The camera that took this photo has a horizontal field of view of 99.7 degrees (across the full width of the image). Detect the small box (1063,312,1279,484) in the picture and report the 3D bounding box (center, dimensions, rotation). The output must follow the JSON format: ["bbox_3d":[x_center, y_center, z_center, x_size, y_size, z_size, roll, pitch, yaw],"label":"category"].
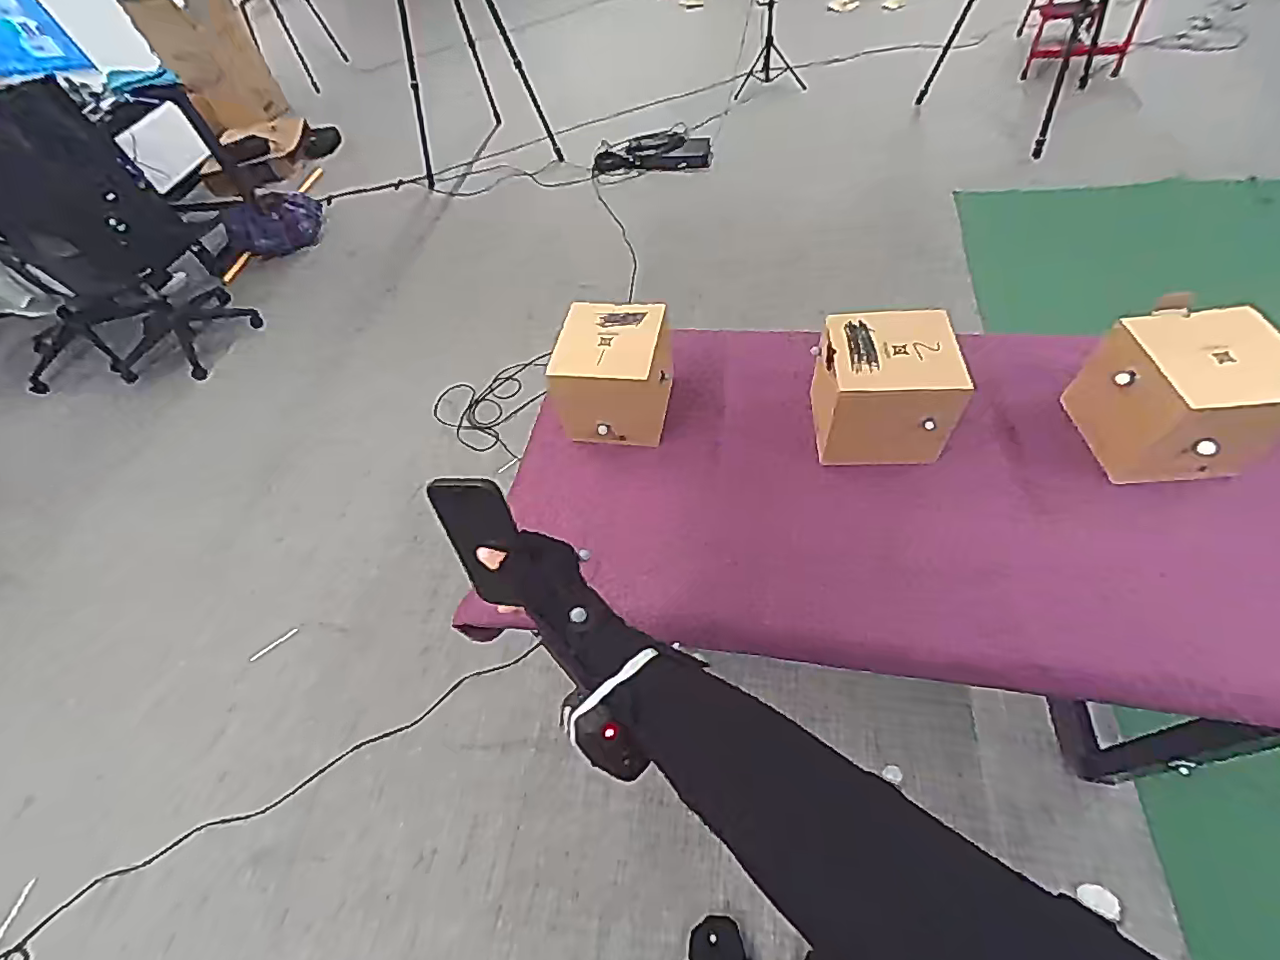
[{"bbox_3d":[0.752,-0.105,0.758,0.168,0.176,0.179,-4,53,6],"label":"small box"}]

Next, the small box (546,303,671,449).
[{"bbox_3d":[-0.042,-0.177,0.925,0.168,0.176,0.179,5,57,12],"label":"small box"}]
